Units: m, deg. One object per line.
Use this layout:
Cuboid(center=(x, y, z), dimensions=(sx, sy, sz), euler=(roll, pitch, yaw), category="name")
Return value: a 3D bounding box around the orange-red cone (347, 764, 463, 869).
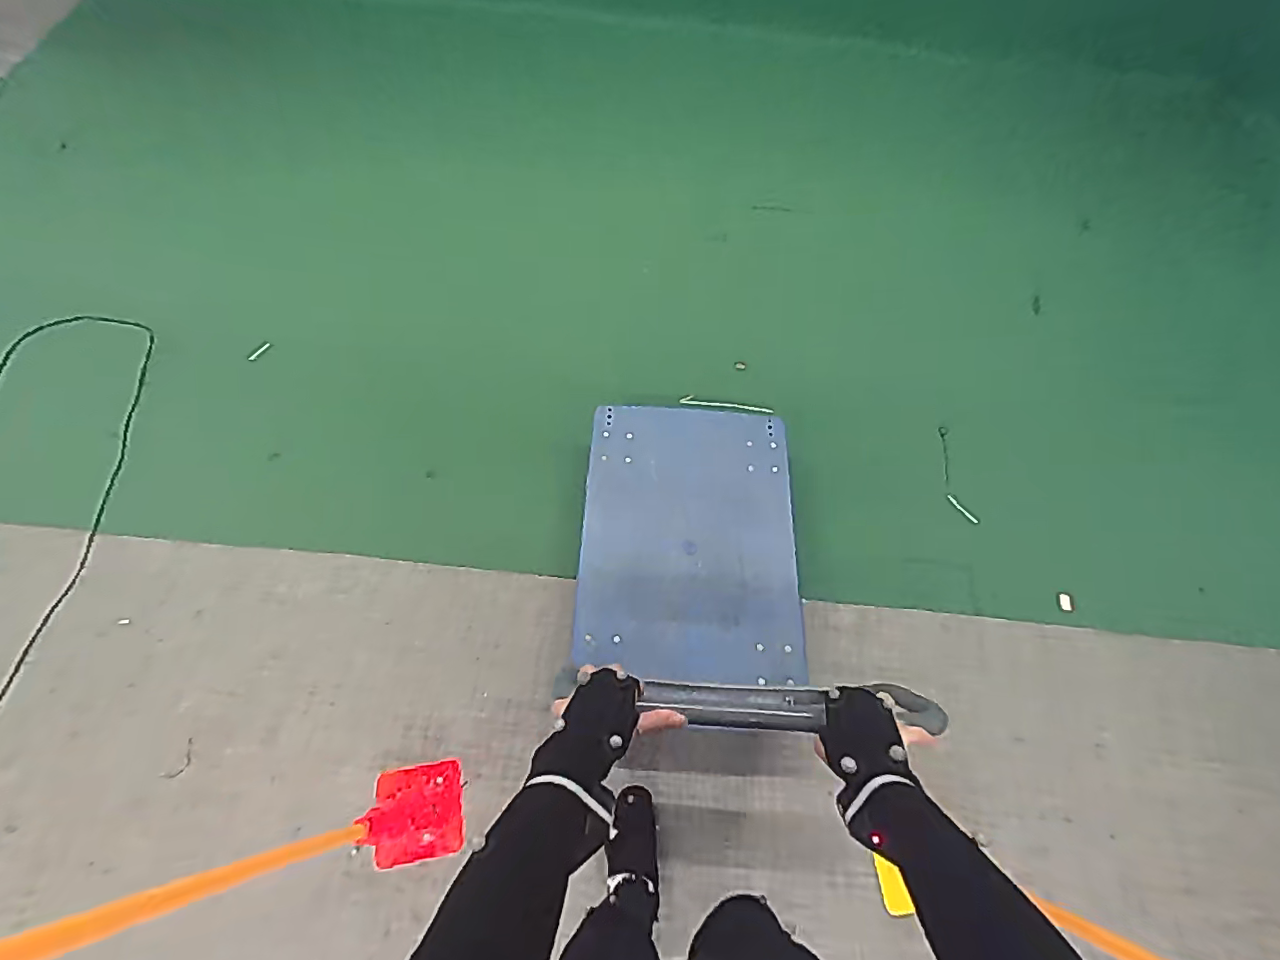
Cuboid(center=(-0.517, 0.716, 1.128), dimensions=(0.199, 0.360, 0.198), euler=(-8, 64, -5), category="orange-red cone")
